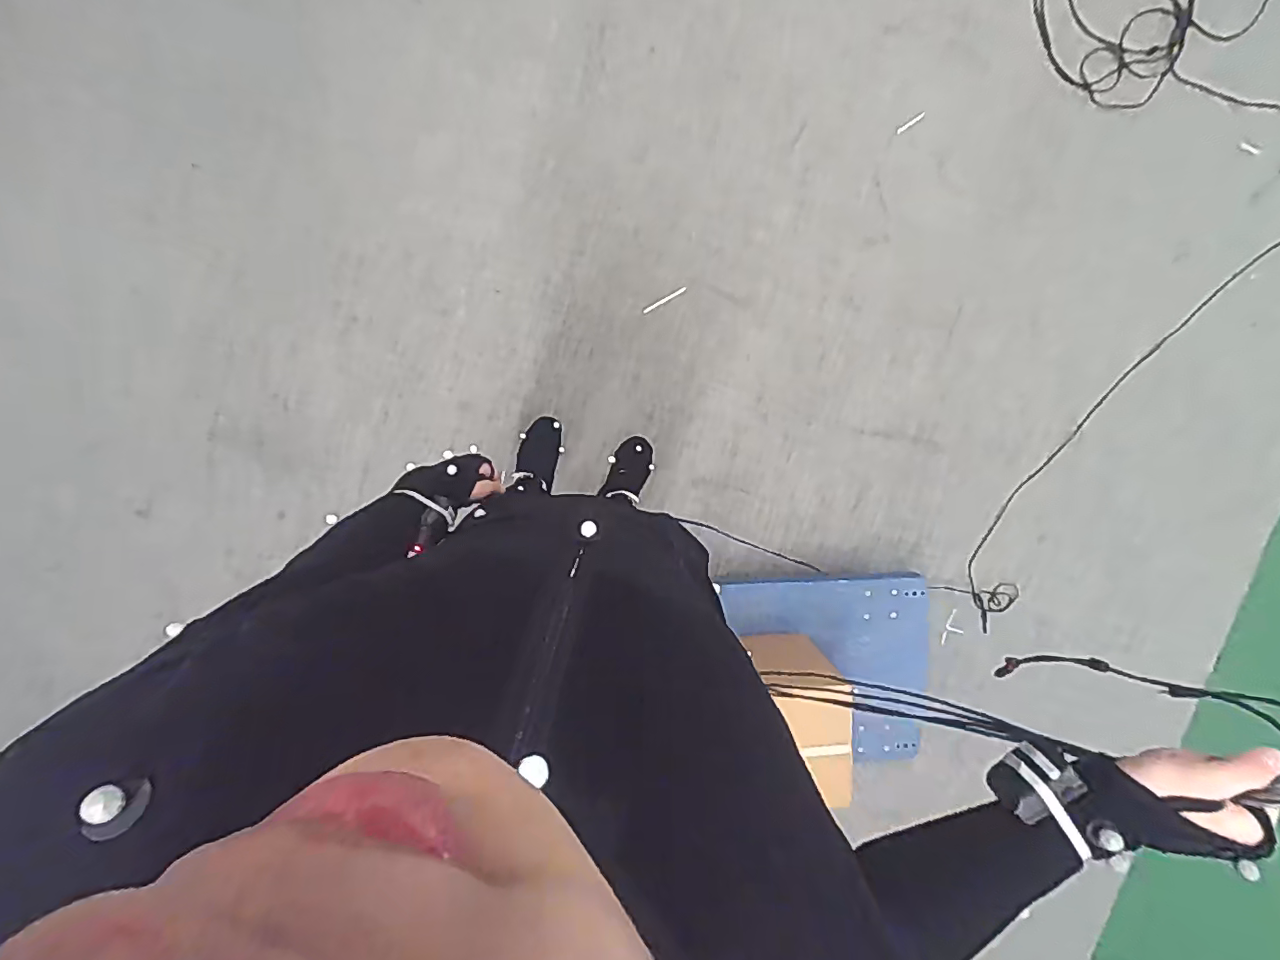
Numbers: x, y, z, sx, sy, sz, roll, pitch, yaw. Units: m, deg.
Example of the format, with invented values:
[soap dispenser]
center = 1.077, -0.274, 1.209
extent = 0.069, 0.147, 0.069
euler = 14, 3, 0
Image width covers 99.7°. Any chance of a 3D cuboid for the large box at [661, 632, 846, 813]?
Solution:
[large box]
center = 0.275, 0.608, 1.414
extent = 0.408, 0.320, 0.320
euler = -1, 98, -5
